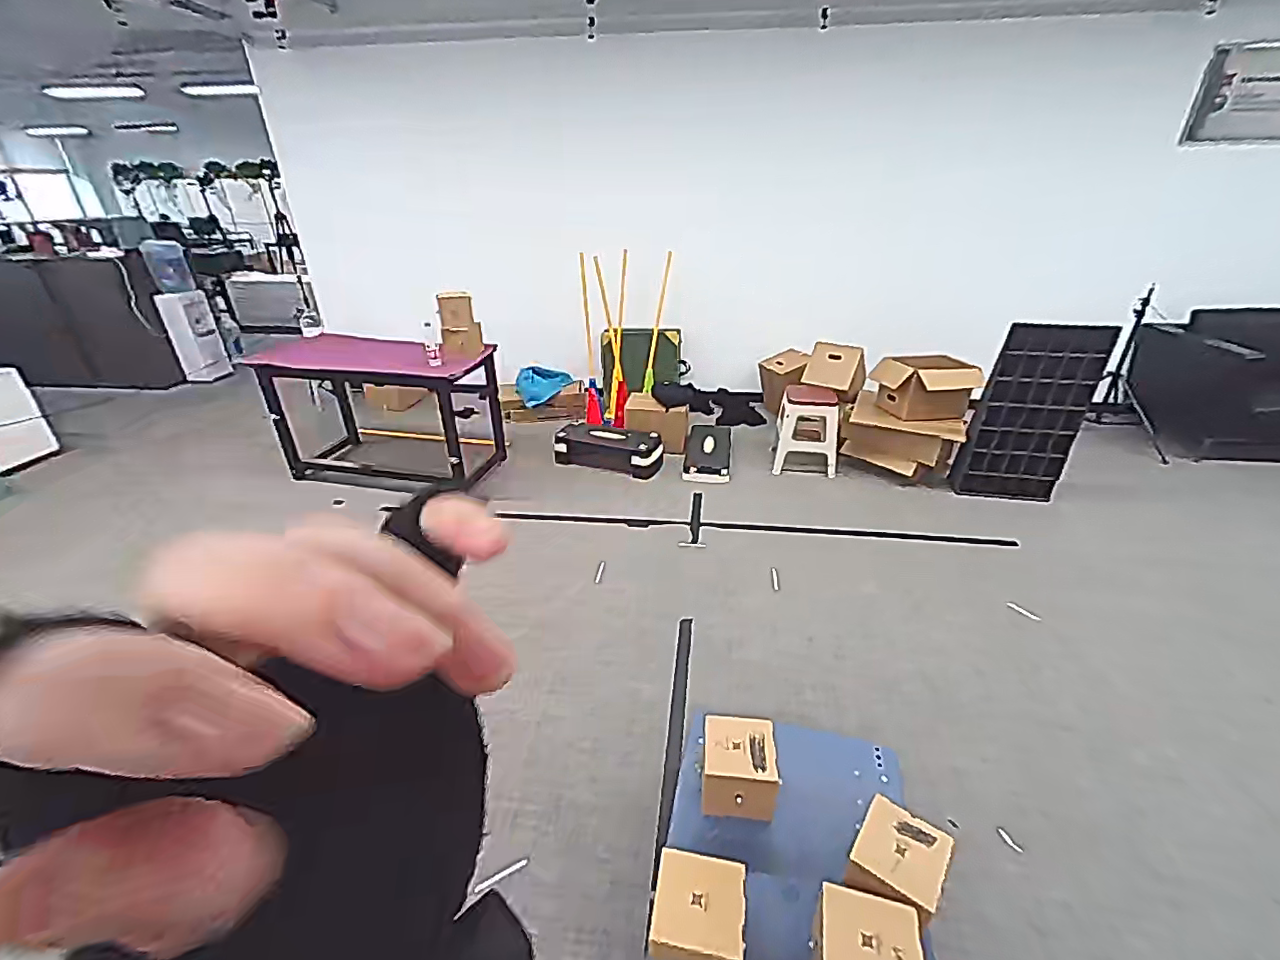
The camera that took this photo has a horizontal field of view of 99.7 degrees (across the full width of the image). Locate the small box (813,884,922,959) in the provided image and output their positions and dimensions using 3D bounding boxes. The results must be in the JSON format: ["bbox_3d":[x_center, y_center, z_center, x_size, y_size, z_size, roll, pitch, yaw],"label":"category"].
[{"bbox_3d":[0.424,0.922,1.025,0.179,0.176,0.168,7,30,16],"label":"small box"}]

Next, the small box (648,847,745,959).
[{"bbox_3d":[0.116,0.891,1.095,0.179,0.176,0.168,6,29,10],"label":"small box"}]

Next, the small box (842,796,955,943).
[{"bbox_3d":[0.551,0.843,1.167,0.168,0.176,0.179,20,36,34],"label":"small box"}]
